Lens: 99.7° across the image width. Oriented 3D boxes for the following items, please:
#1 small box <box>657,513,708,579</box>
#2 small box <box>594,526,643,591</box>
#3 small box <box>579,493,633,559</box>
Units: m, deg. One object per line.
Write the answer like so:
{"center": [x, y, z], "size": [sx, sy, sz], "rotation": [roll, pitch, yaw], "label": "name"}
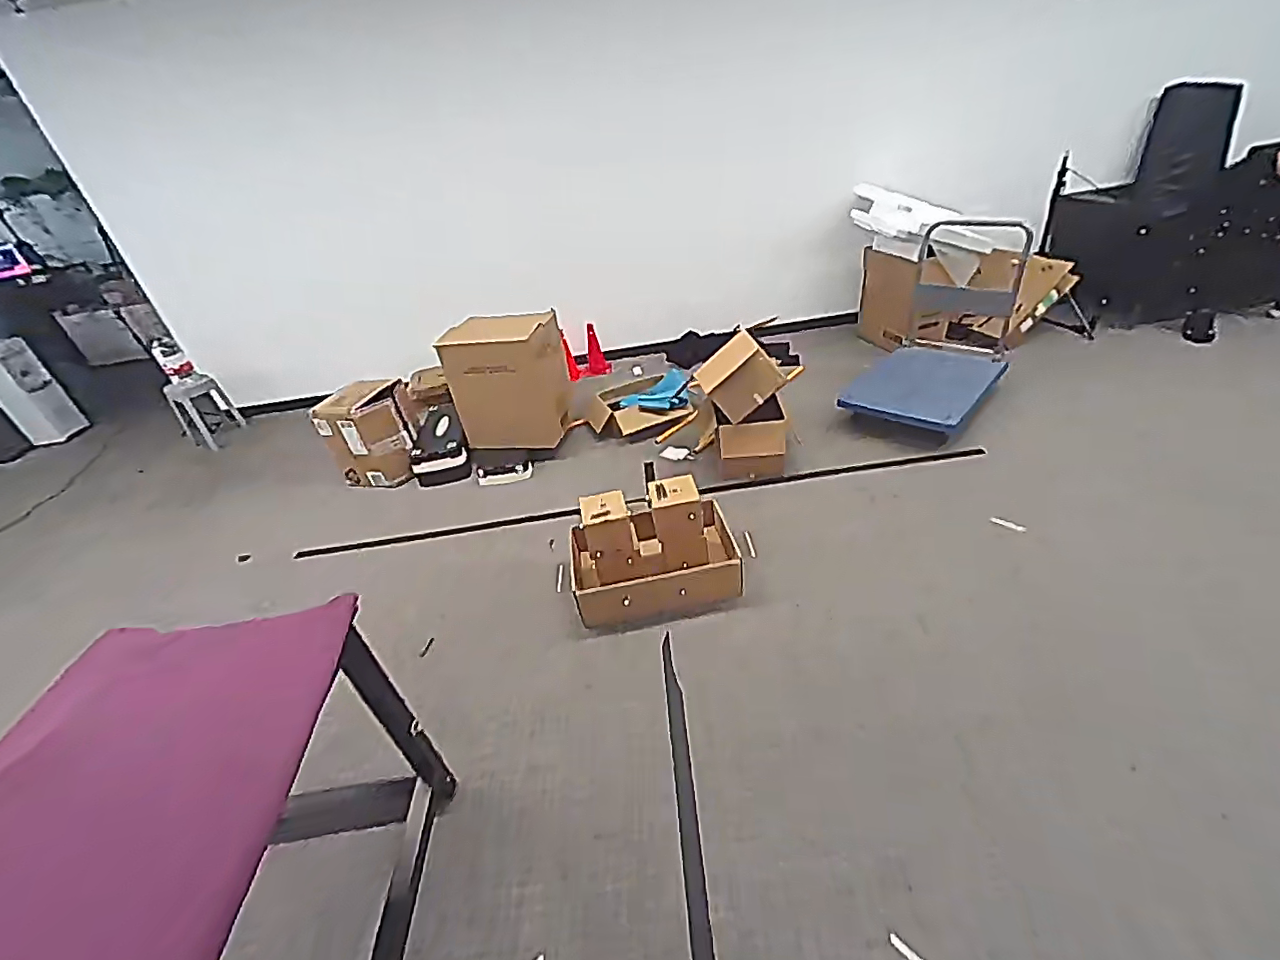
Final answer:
{"center": [0.165, 0.258, 2.115], "size": [0.168, 0.176, 0.179], "rotation": [-12, 33, -2], "label": "small box"}
{"center": [-0.089, 0.306, 2.101], "size": [0.179, 0.176, 0.168], "rotation": [-11, 32, -5], "label": "small box"}
{"center": [-0.126, 0.176, 2.005], "size": [0.168, 0.176, 0.179], "rotation": [-11, 32, -5], "label": "small box"}
